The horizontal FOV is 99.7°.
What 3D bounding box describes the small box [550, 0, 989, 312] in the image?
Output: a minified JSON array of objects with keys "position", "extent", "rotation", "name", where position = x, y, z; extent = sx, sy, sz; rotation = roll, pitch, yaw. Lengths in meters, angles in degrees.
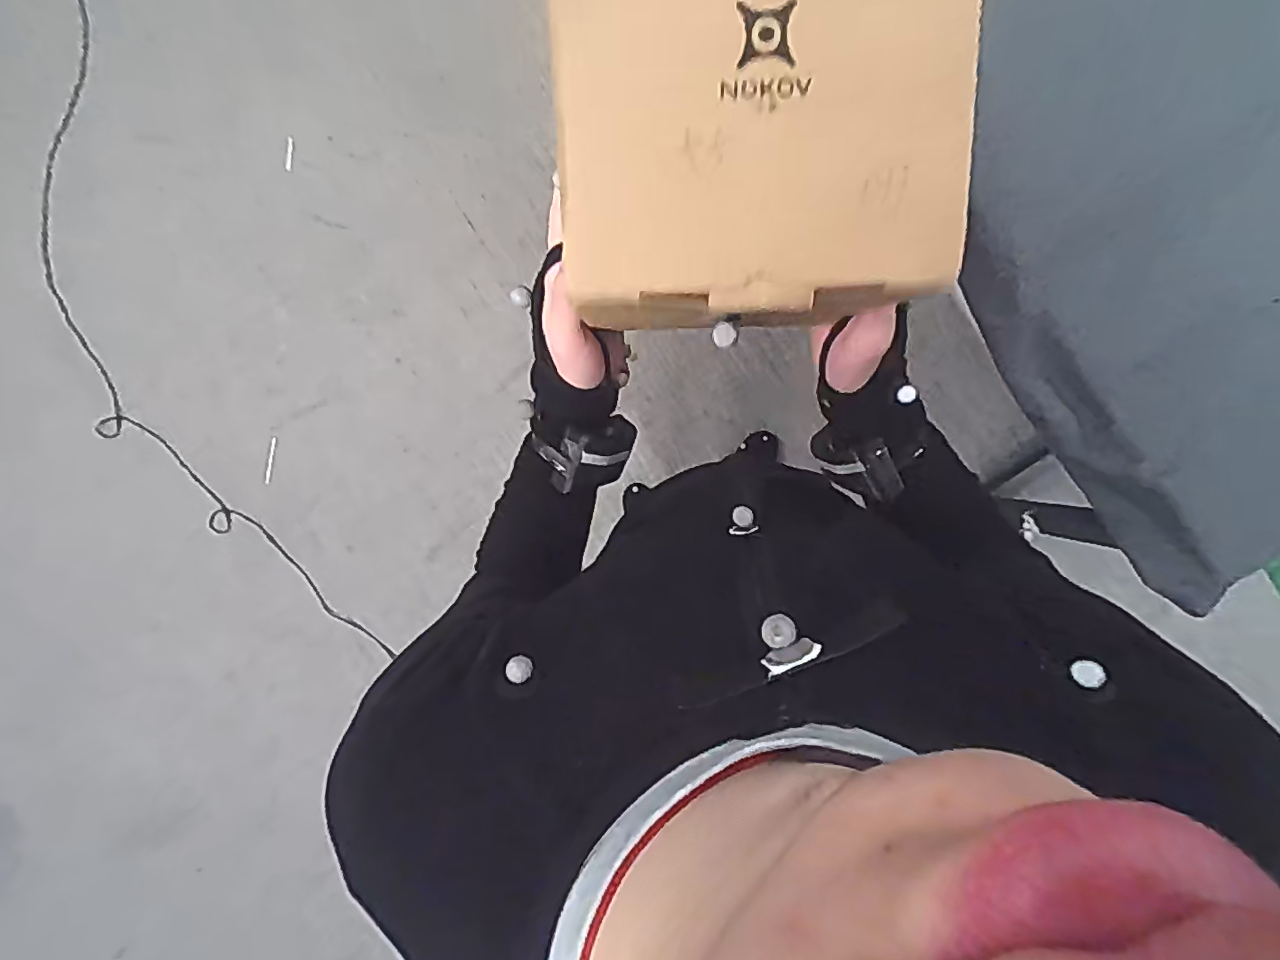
[{"position":[0.046,-0.183,0.281],"extent":[0.168,0.176,0.179],"rotation":[-2,102,-3],"name":"small box"}]
